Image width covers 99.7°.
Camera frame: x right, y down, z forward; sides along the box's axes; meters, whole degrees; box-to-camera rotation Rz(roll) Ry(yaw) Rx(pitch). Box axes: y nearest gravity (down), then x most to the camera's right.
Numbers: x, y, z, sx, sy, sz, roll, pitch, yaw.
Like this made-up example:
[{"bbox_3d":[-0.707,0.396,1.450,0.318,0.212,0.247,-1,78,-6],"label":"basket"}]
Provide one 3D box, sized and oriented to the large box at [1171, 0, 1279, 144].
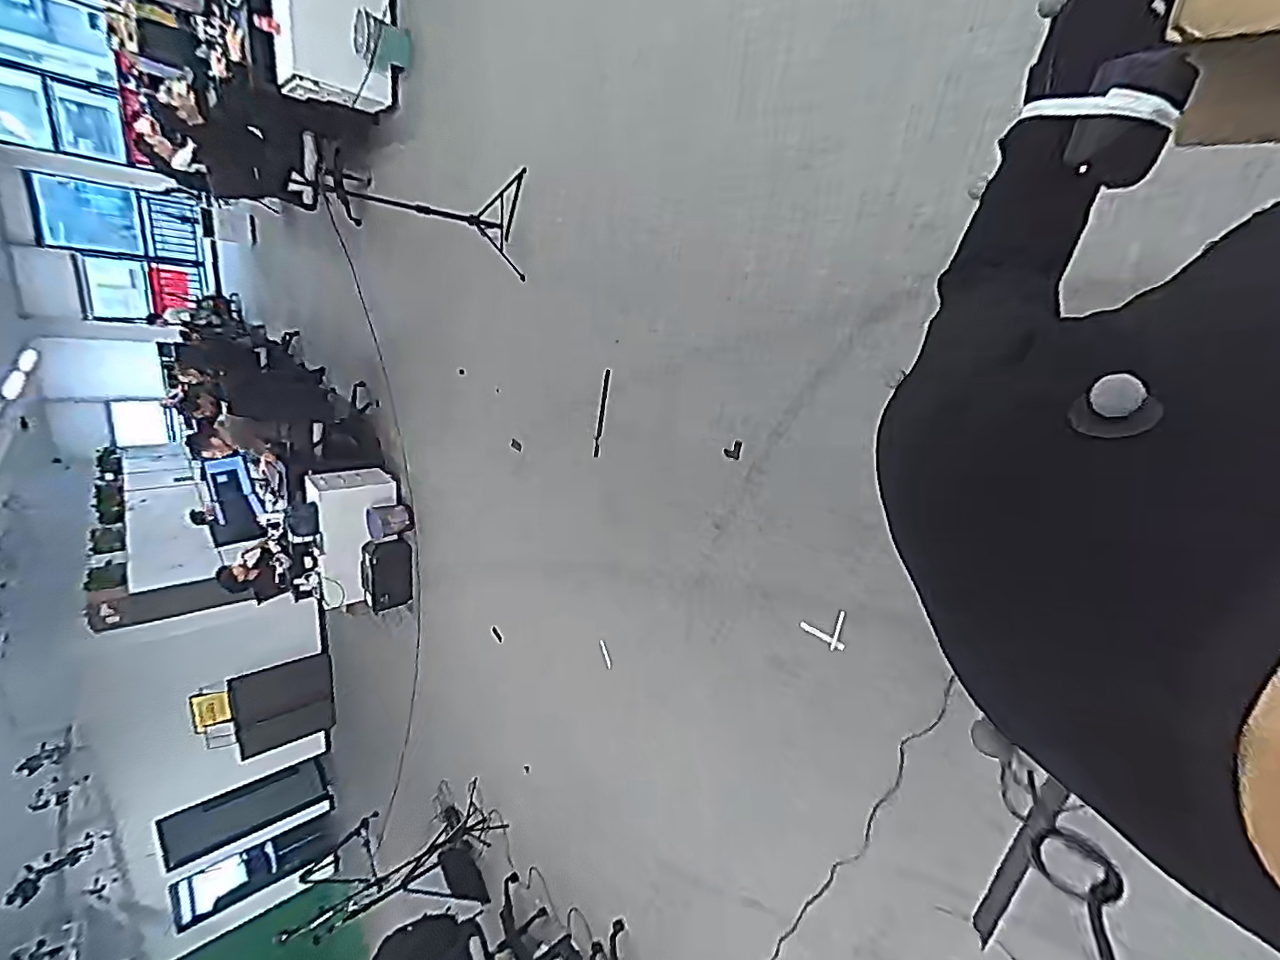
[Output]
[{"bbox_3d":[0.597,-0.399,0.278,0.408,0.320,0.320,23,118,39],"label":"large box"}]
